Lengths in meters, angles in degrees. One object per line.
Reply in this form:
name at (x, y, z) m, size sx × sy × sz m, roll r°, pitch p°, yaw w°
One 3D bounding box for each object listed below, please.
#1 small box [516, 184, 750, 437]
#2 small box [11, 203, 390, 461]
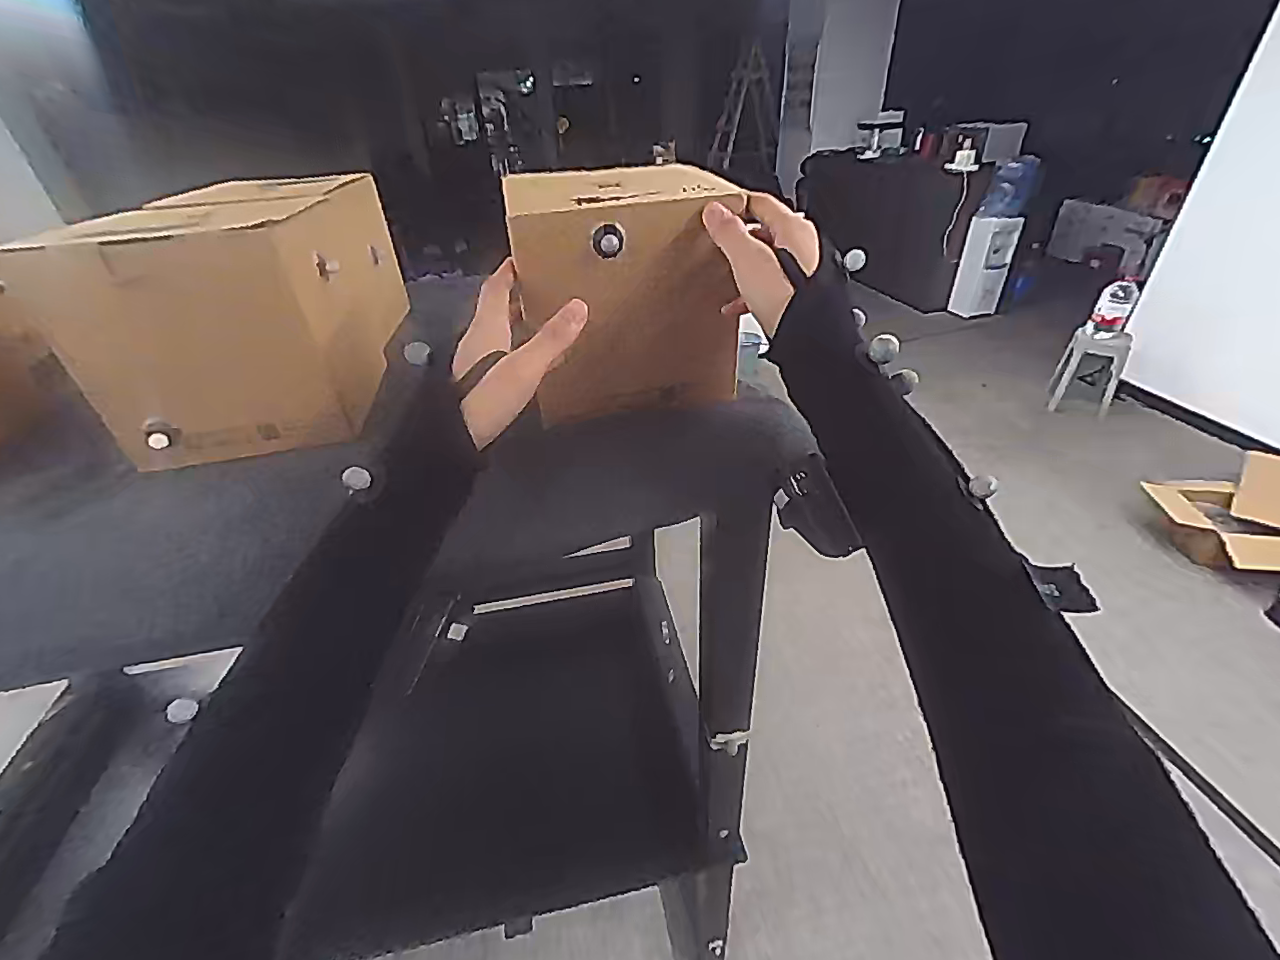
small box at (-0.014, -0.157, 0.481) m, size 0.168 × 0.176 × 0.179 m, roll -10°, pitch 35°, yaw -8°
small box at (-0.333, -0.127, 0.464) m, size 0.168 × 0.176 × 0.179 m, roll -10°, pitch 35°, yaw -10°
